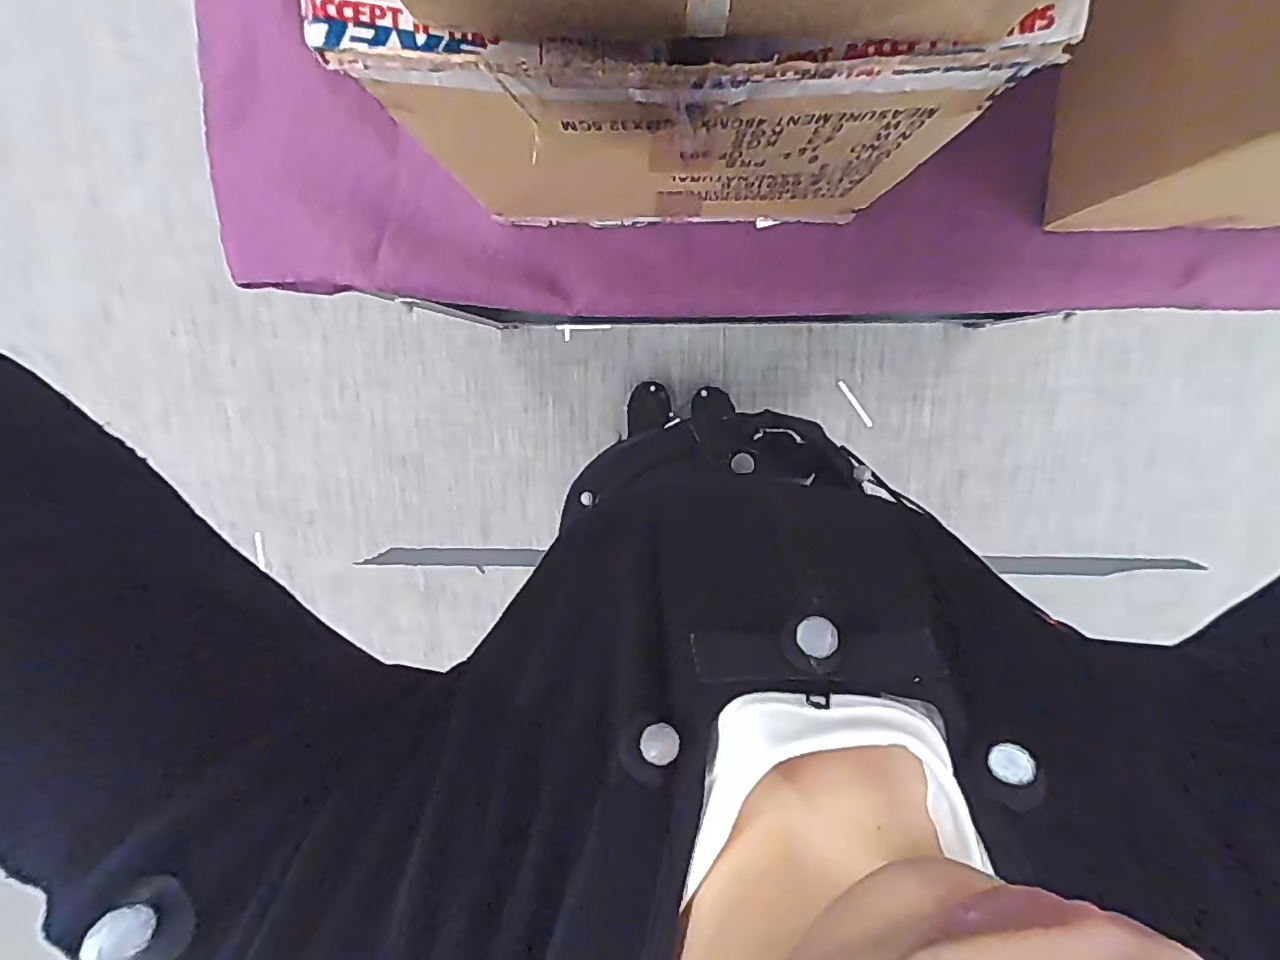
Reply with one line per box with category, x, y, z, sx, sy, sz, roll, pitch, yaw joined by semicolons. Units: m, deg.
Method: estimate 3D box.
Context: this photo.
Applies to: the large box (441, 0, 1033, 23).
large box;0.045;-0.398;0.092;0.320;0.320;0.408;2;104;3
